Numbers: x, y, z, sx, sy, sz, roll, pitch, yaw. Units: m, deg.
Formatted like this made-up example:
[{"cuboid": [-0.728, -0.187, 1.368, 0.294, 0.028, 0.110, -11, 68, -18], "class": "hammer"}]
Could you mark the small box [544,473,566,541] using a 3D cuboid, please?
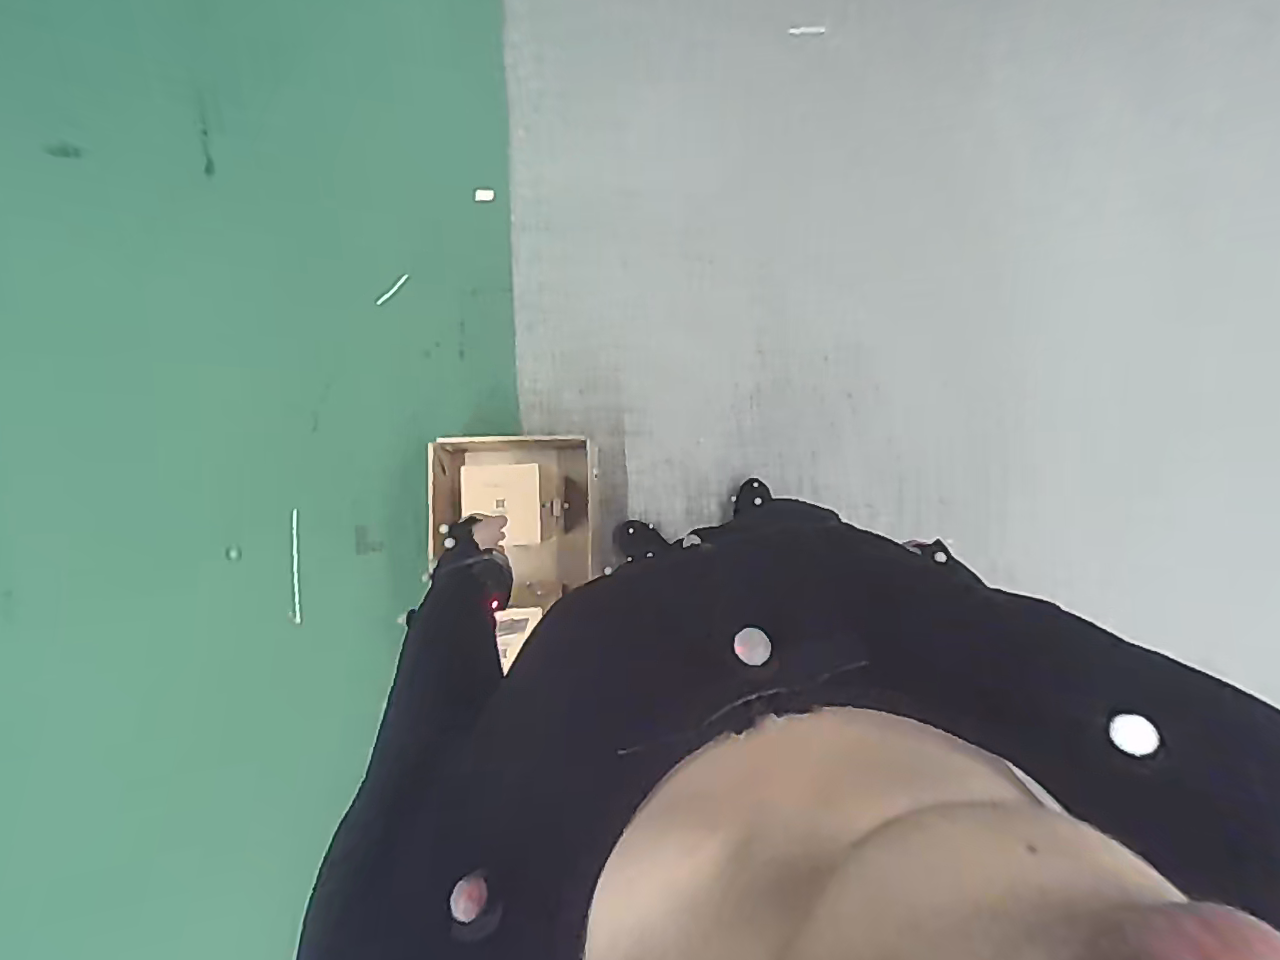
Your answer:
[{"cuboid": [-0.281, 0.064, 1.362, 0.179, 0.176, 0.168, 0, 88, -1], "class": "small box"}]

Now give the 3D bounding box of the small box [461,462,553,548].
[{"cuboid": [-0.288, 0.053, 1.199, 0.168, 0.176, 0.179, -3, 88, -2], "class": "small box"}]

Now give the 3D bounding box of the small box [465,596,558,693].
[{"cuboid": [-0.275, 0.351, 1.183, 0.168, 0.176, 0.179, -1, 88, 0], "class": "small box"}]
